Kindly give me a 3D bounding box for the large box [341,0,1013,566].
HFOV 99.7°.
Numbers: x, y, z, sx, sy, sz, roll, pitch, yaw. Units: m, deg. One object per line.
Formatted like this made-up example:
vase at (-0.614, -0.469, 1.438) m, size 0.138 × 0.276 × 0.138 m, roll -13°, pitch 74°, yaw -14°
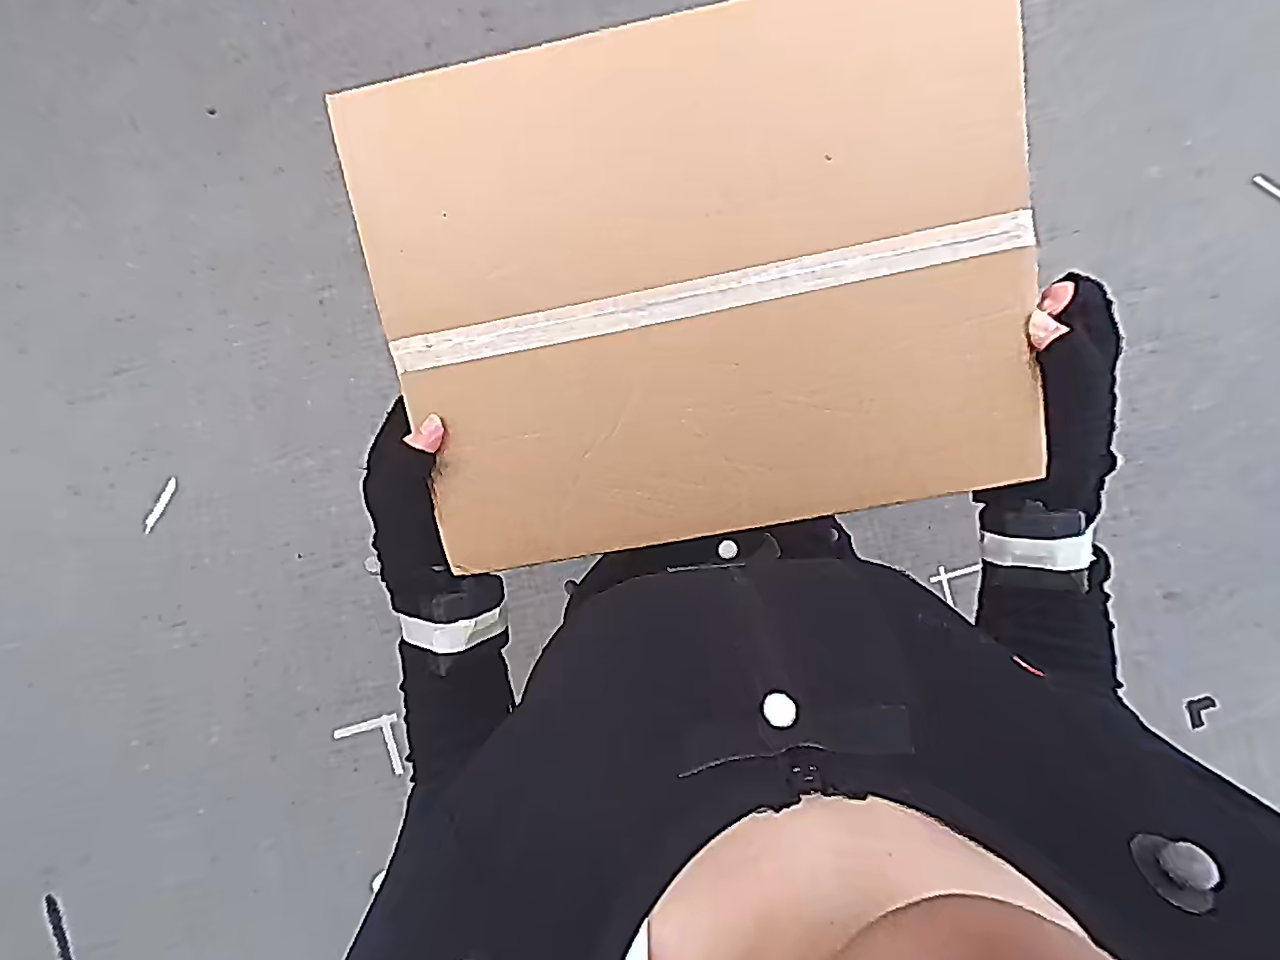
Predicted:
large box at (0.039, -0.150, 0.499) m, size 0.408 × 0.320 × 0.320 m, roll -10°, pitch 100°, yaw 4°
